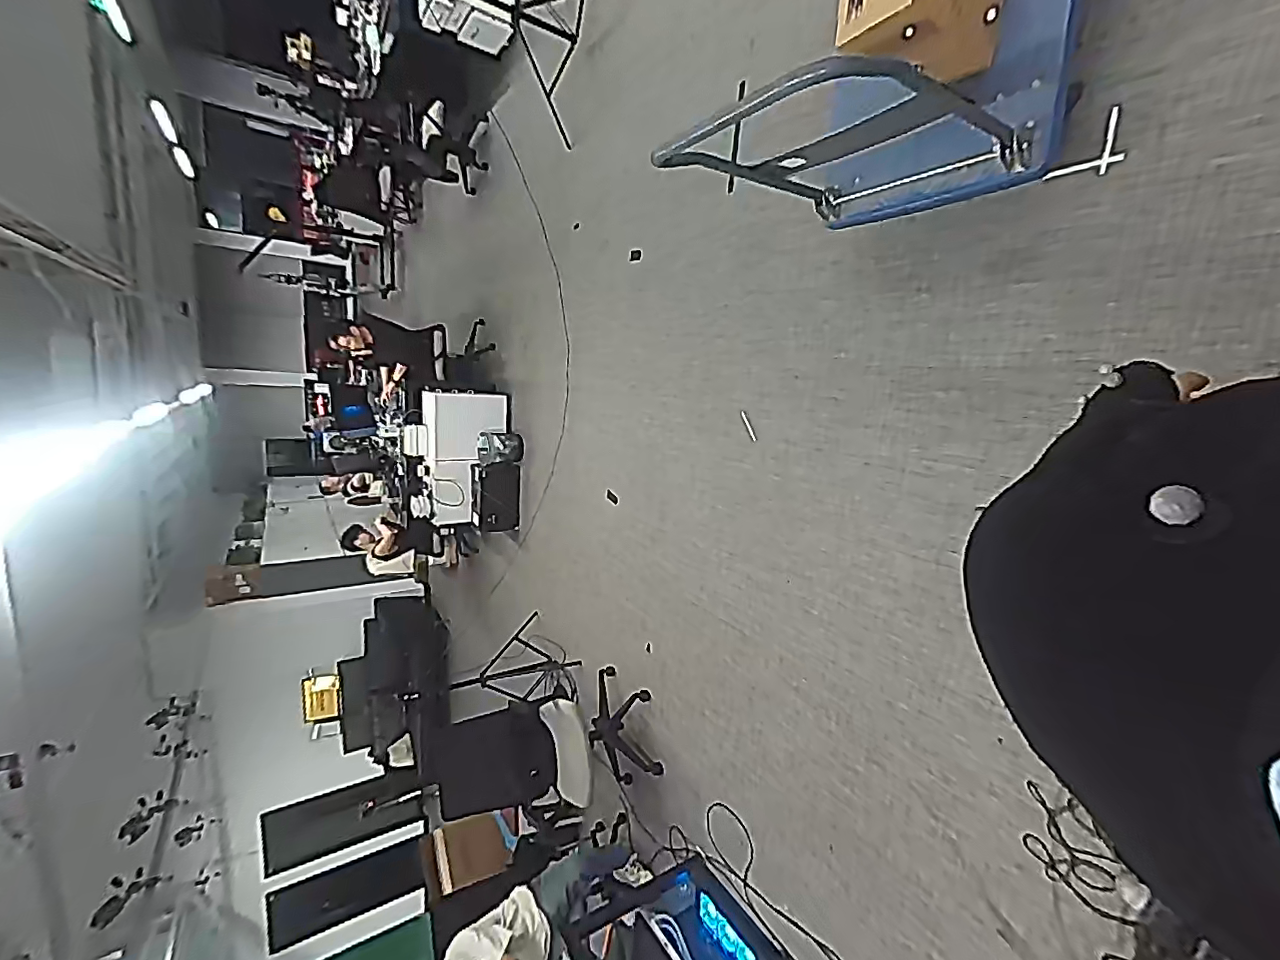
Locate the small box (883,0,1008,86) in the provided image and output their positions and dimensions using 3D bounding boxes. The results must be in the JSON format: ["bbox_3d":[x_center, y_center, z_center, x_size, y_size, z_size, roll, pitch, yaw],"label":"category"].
[{"bbox_3d":[0.683,-1.022,1.209,0.179,0.176,0.168,23,112,54],"label":"small box"}]
